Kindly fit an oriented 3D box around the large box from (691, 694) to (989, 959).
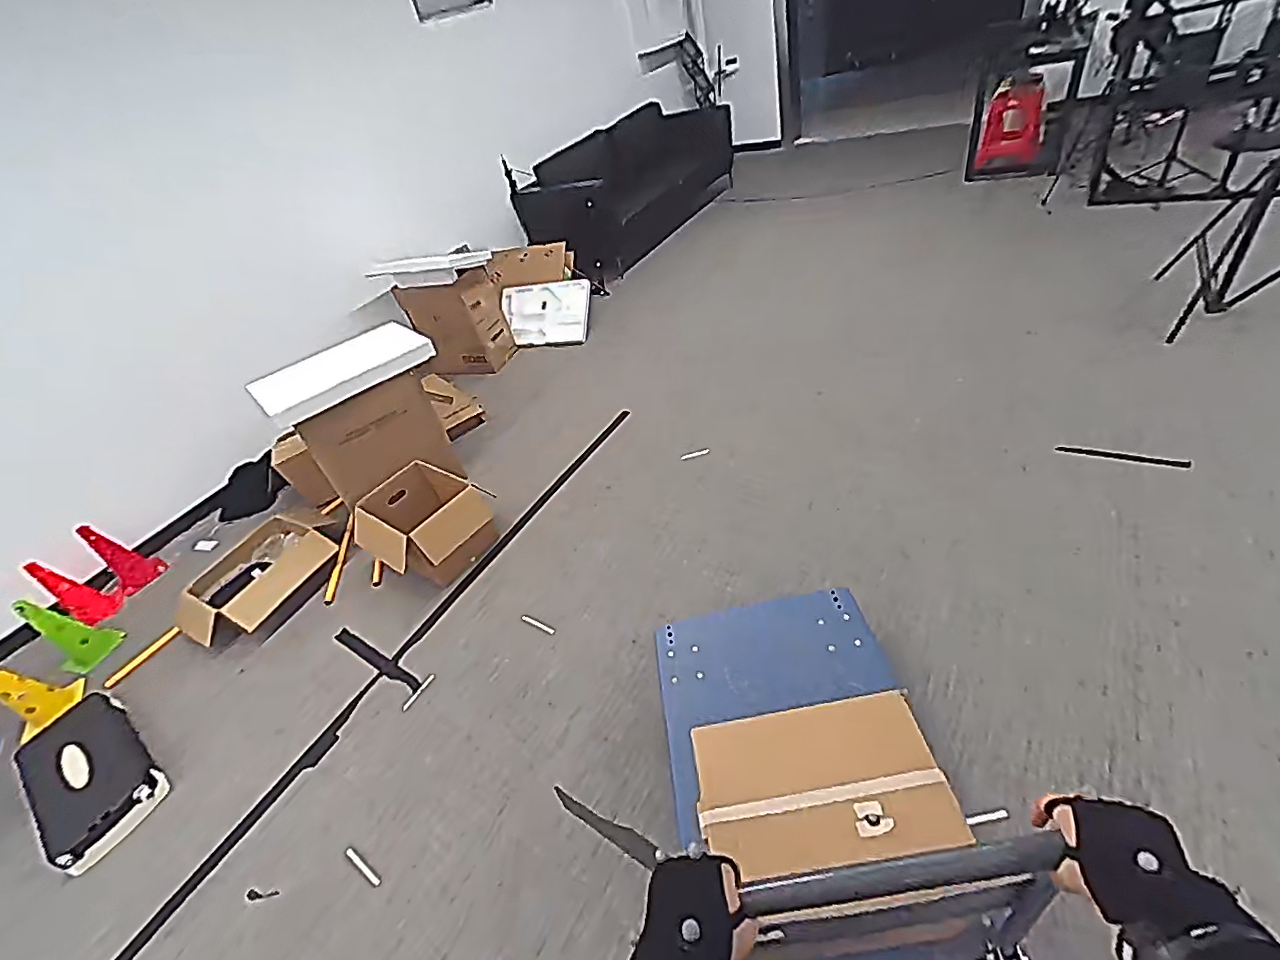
[{"bbox_3d":[0.332,0.652,1.004,0.408,0.320,0.320,-12,40,3],"label":"large box"}]
